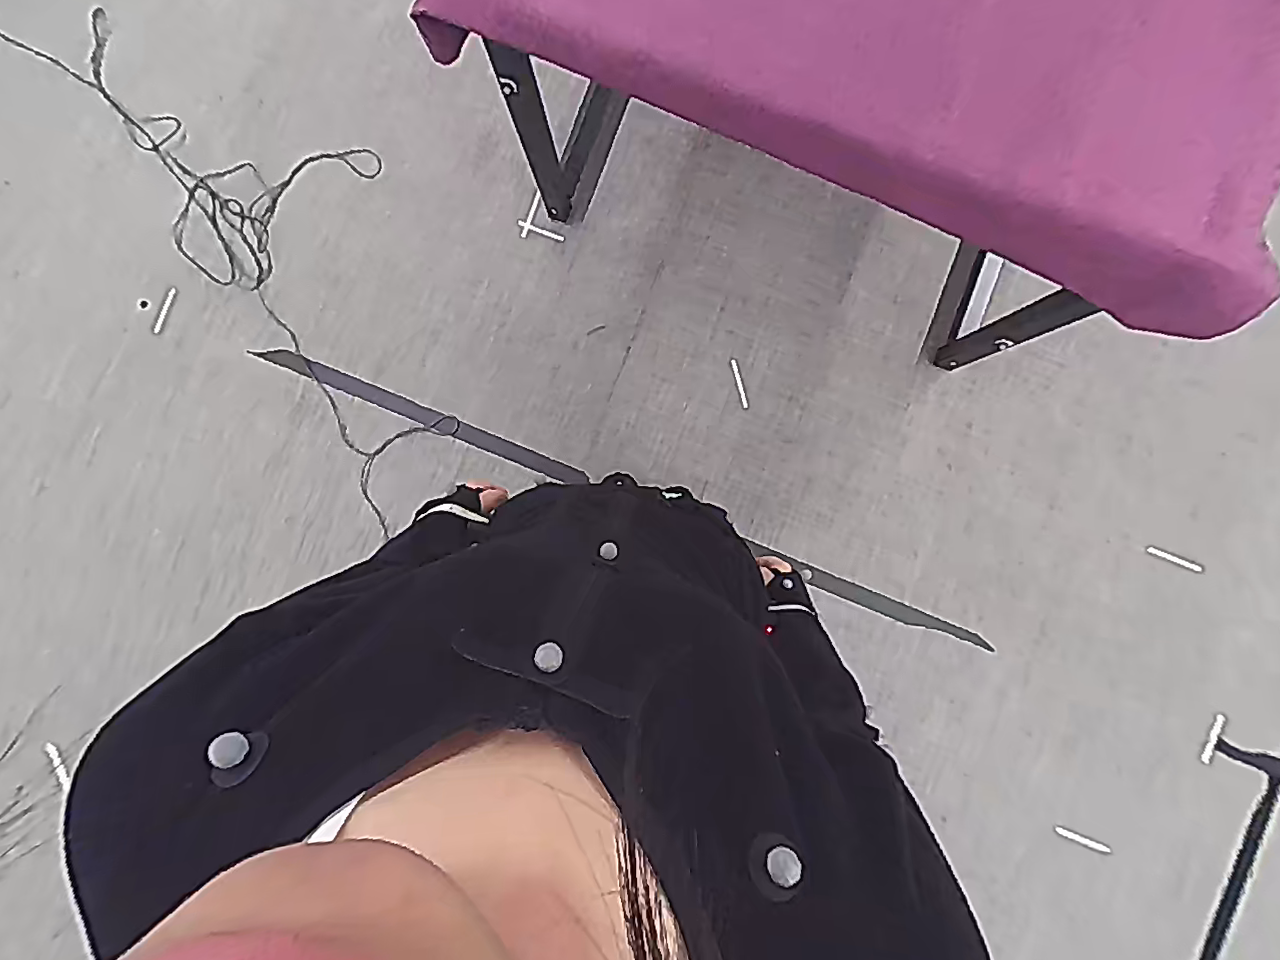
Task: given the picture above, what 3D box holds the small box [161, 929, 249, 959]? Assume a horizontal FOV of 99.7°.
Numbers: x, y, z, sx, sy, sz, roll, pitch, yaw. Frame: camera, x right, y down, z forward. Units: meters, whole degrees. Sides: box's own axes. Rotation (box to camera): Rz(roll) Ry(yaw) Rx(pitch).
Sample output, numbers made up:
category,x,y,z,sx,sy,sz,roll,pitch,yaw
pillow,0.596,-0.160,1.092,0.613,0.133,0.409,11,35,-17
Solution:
category,x,y,z,sx,sy,sz,roll,pitch,yaw
small box,-0.937,1.083,1.115,0.179,0.176,0.168,-17,89,1
